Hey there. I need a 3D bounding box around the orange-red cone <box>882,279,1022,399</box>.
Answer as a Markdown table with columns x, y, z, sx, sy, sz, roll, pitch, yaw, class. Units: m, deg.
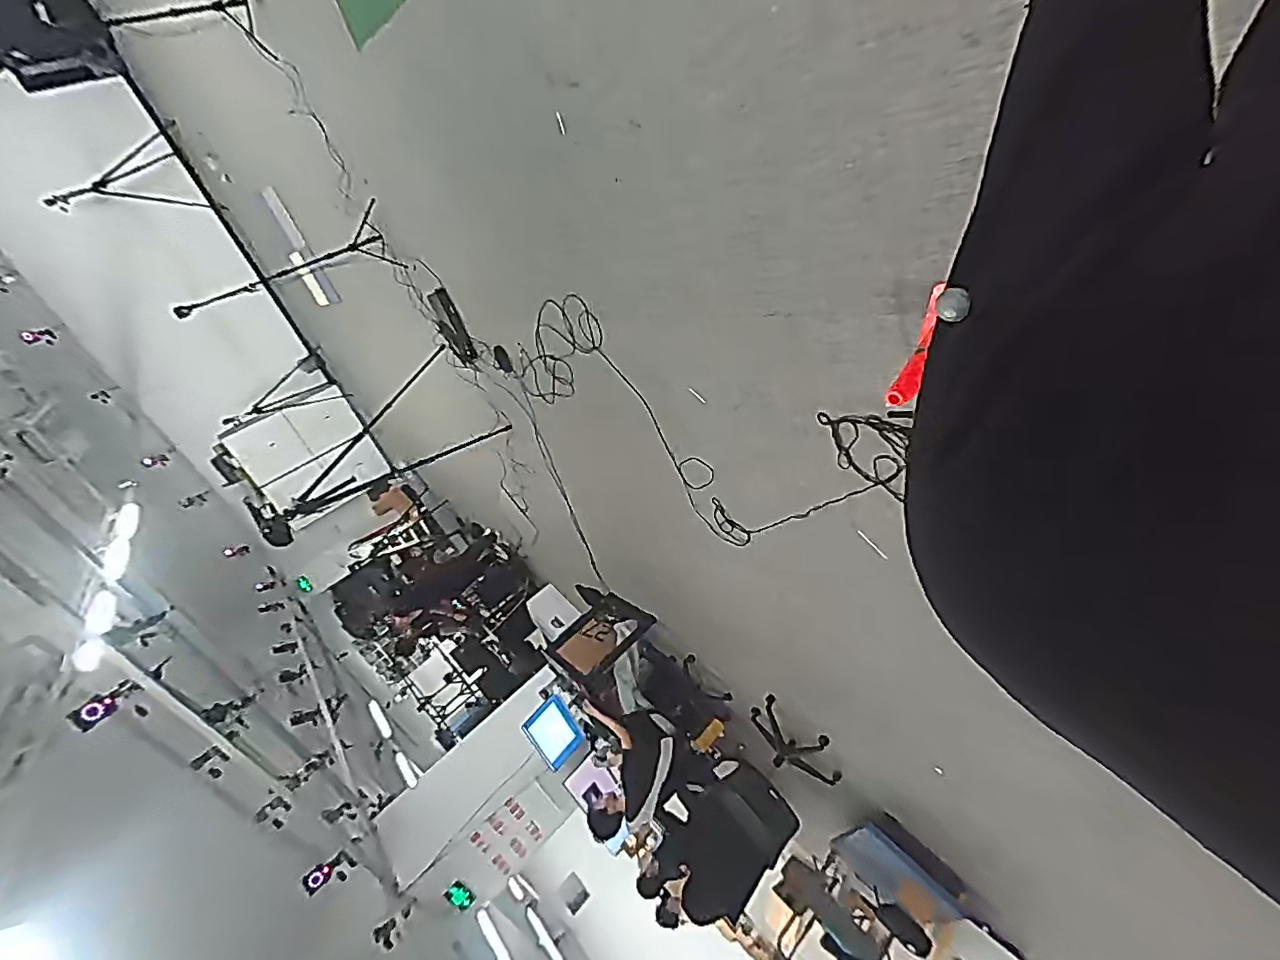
| x | y | z | sx | sy | sz | roll | pitch | yaw | class |
| --- | --- | --- | --- | --- | --- | --- | --- | --- | --- |
| 0.658 | -0.279 | 1.226 | 0.199 | 0.360 | 0.198 | 36 | 149 | 33 | orange-red cone |
